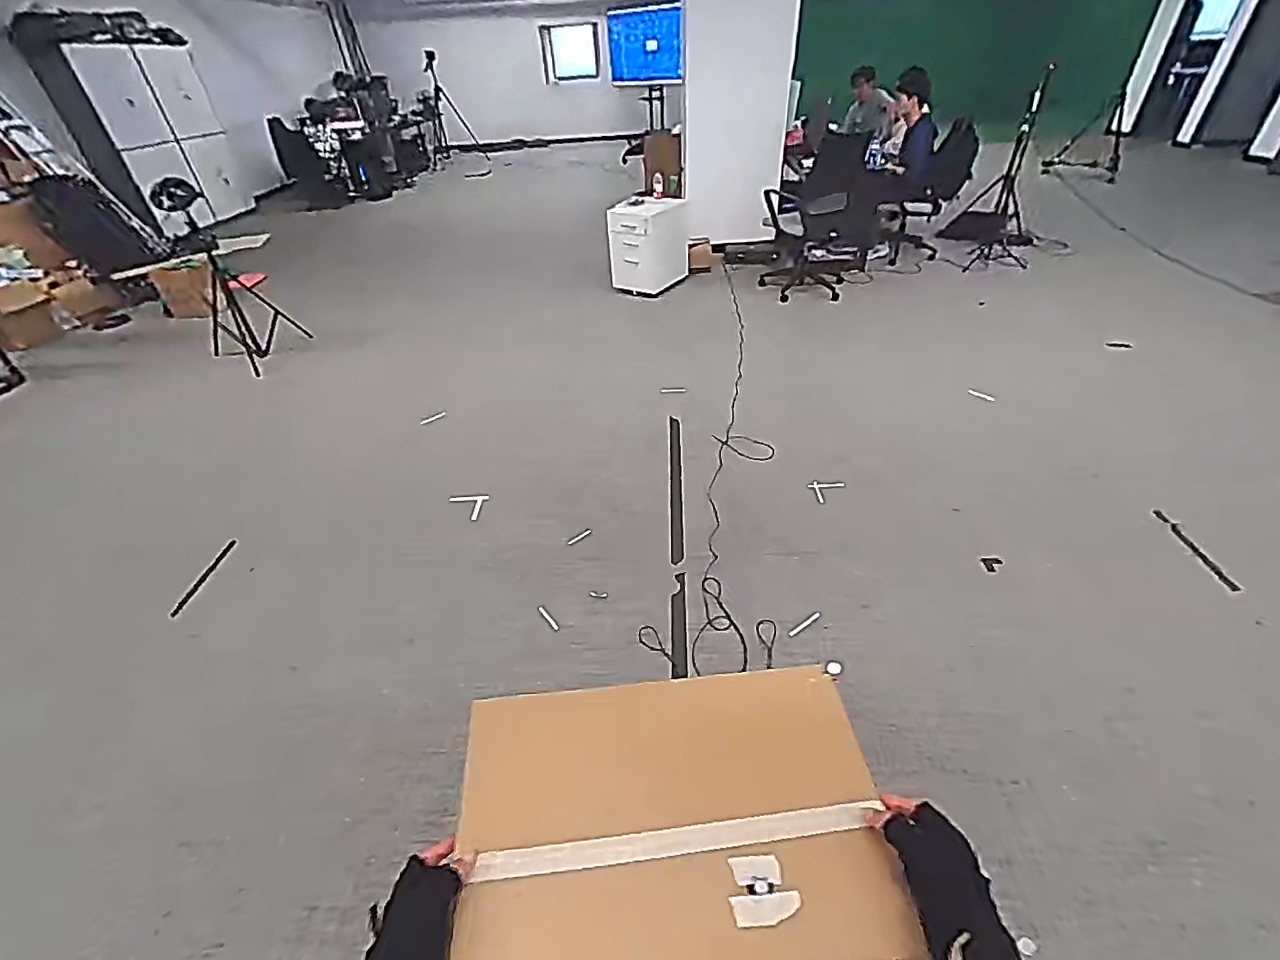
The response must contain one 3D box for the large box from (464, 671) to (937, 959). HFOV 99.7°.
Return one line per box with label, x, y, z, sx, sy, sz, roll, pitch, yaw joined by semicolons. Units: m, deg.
large box;0.039;0.453;0.617;0.408;0.320;0.320;-3;44;-4
